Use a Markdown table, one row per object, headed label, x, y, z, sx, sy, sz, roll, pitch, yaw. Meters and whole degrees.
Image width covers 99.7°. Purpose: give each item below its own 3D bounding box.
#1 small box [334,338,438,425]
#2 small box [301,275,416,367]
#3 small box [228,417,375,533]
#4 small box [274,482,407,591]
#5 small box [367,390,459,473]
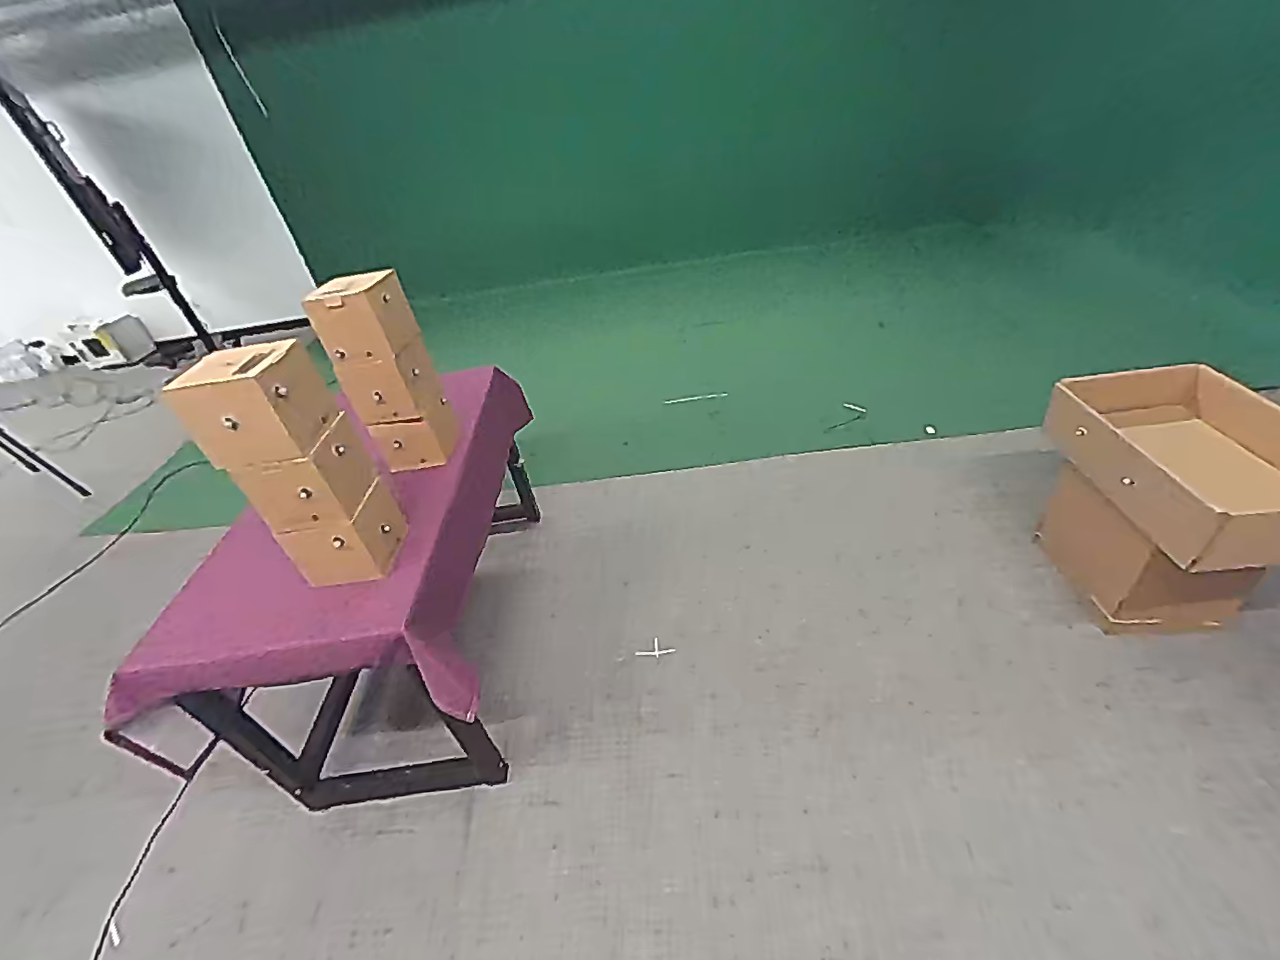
| label | x | y | z | sx | sy | sz | roll | pitch | yaw |
| --- | --- | --- | --- | --- | --- | --- | --- | --- | --- |
| small box | -0.666 | -0.257 | 1.445 | 0.168 | 0.176 | 0.179 | -6 | 37 | 7 |
| small box | -0.691 | -0.392 | 1.354 | 0.168 | 0.176 | 0.179 | -7 | 35 | 7 |
| small box | -0.679 | -0.004 | 1.115 | 0.168 | 0.176 | 0.179 | -8 | 36 | 3 |
| small box | -0.653 | 0.127 | 1.208 | 0.179 | 0.176 | 0.168 | -8 | 36 | 5 |
| small box | -0.640 | -0.132 | 1.549 | 0.168 | 0.176 | 0.179 | -9 | 36 | 4 |
